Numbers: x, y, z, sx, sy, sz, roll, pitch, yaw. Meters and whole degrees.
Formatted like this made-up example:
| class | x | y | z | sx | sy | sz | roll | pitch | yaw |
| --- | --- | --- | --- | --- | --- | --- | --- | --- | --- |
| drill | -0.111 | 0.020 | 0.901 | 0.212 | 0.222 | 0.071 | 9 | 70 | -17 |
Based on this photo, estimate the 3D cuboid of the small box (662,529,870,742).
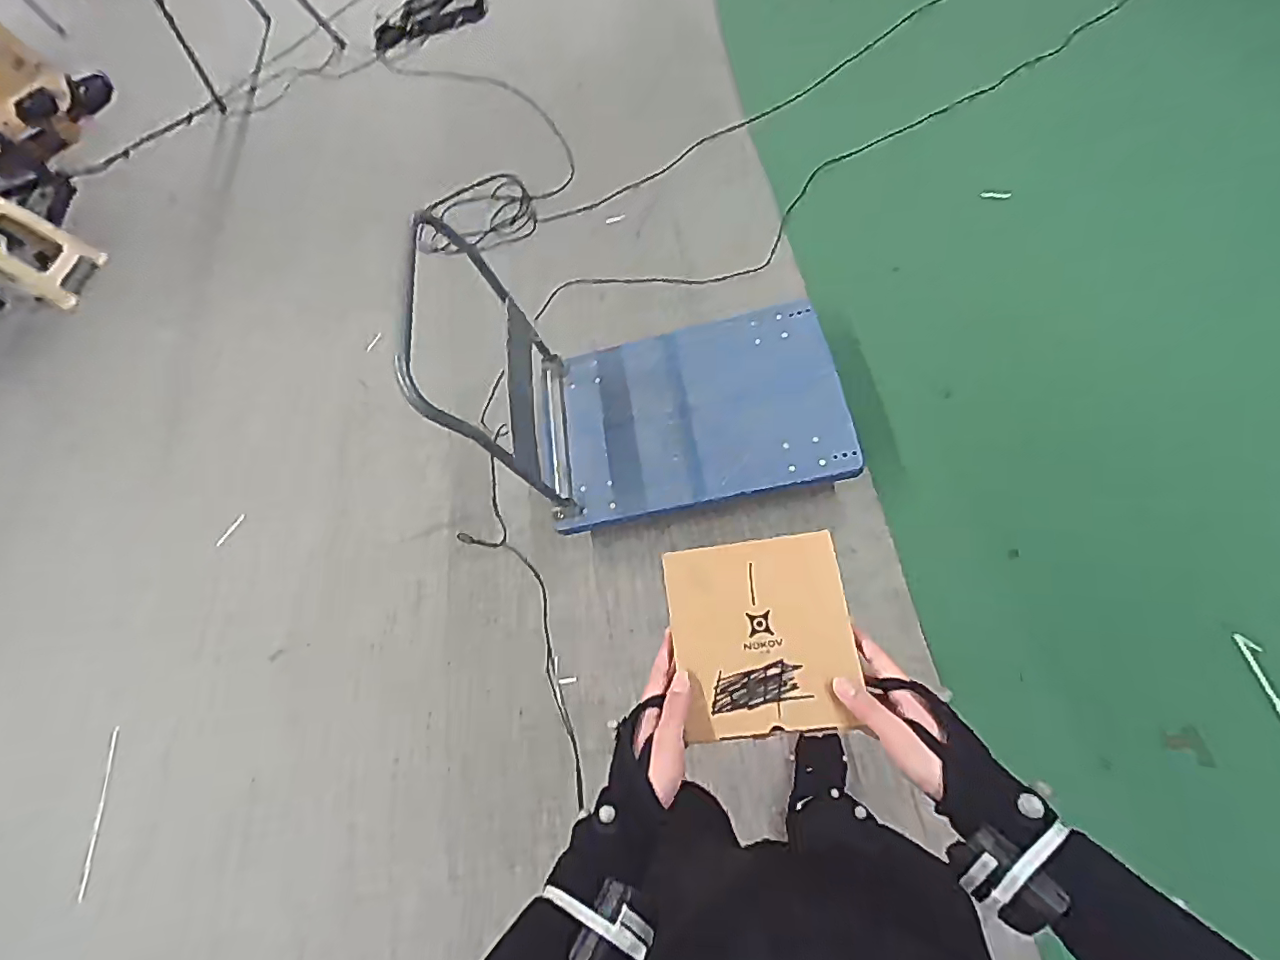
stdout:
| class | x | y | z | sx | sy | sz | roll | pitch | yaw |
| --- | --- | --- | --- | --- | --- | --- | --- | --- | --- |
| small box | 0.124 | 0.163 | 0.574 | 0.168 | 0.176 | 0.179 | -10 | 71 | 7 |
